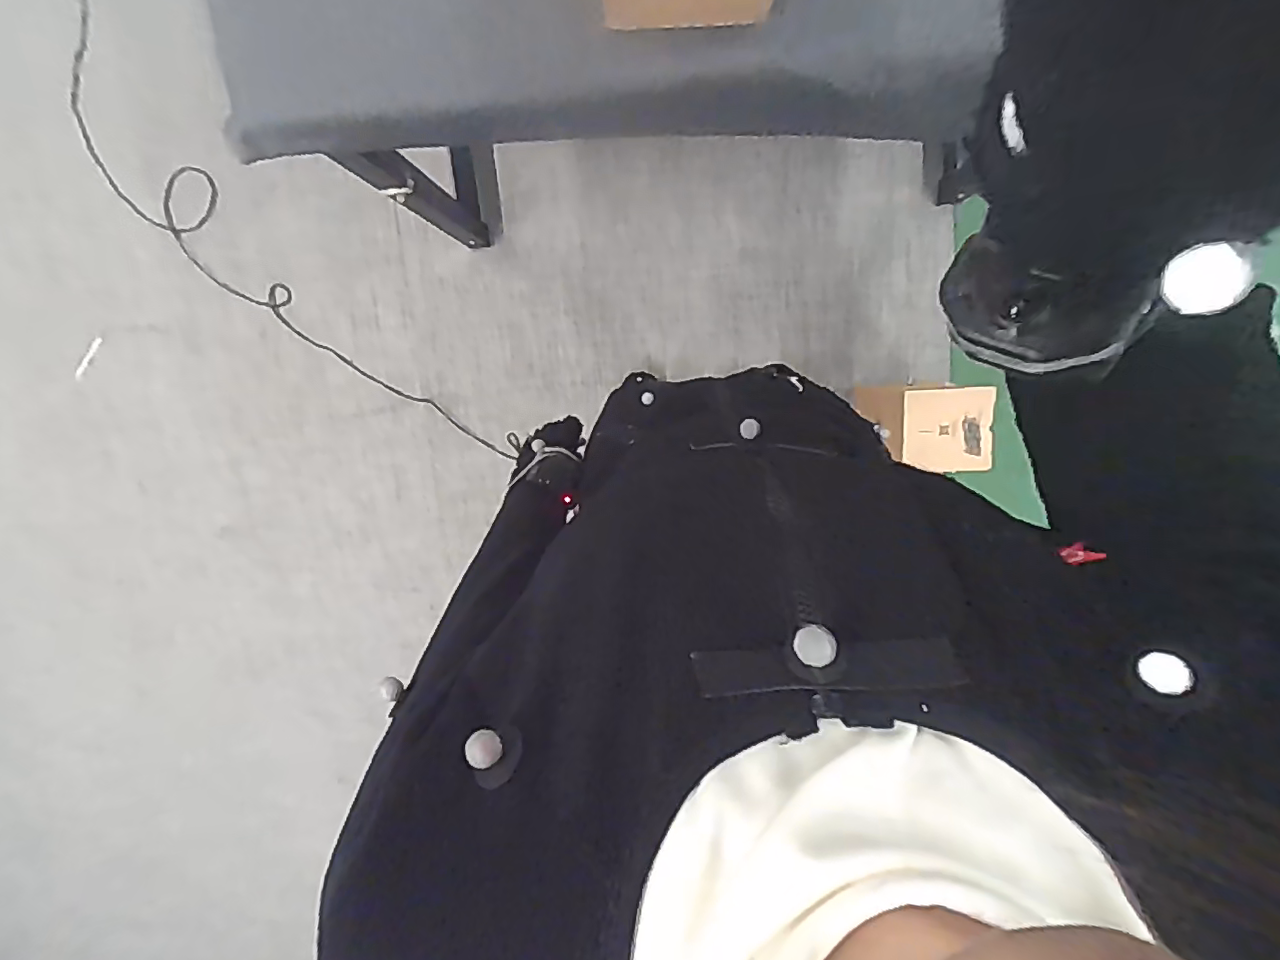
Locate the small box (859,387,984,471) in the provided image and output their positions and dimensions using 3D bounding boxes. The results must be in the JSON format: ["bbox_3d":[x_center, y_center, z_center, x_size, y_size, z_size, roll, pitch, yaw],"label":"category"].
[{"bbox_3d":[0.588,-0.113,1.148,0.179,0.176,0.168,-1,100,3],"label":"small box"}]

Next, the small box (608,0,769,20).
[{"bbox_3d":[0.048,-0.565,0.496,0.179,0.176,0.168,0,100,2],"label":"small box"}]

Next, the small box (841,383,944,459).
[{"bbox_3d":[0.604,-0.146,1.309,0.179,0.176,0.168,-4,100,4],"label":"small box"}]
